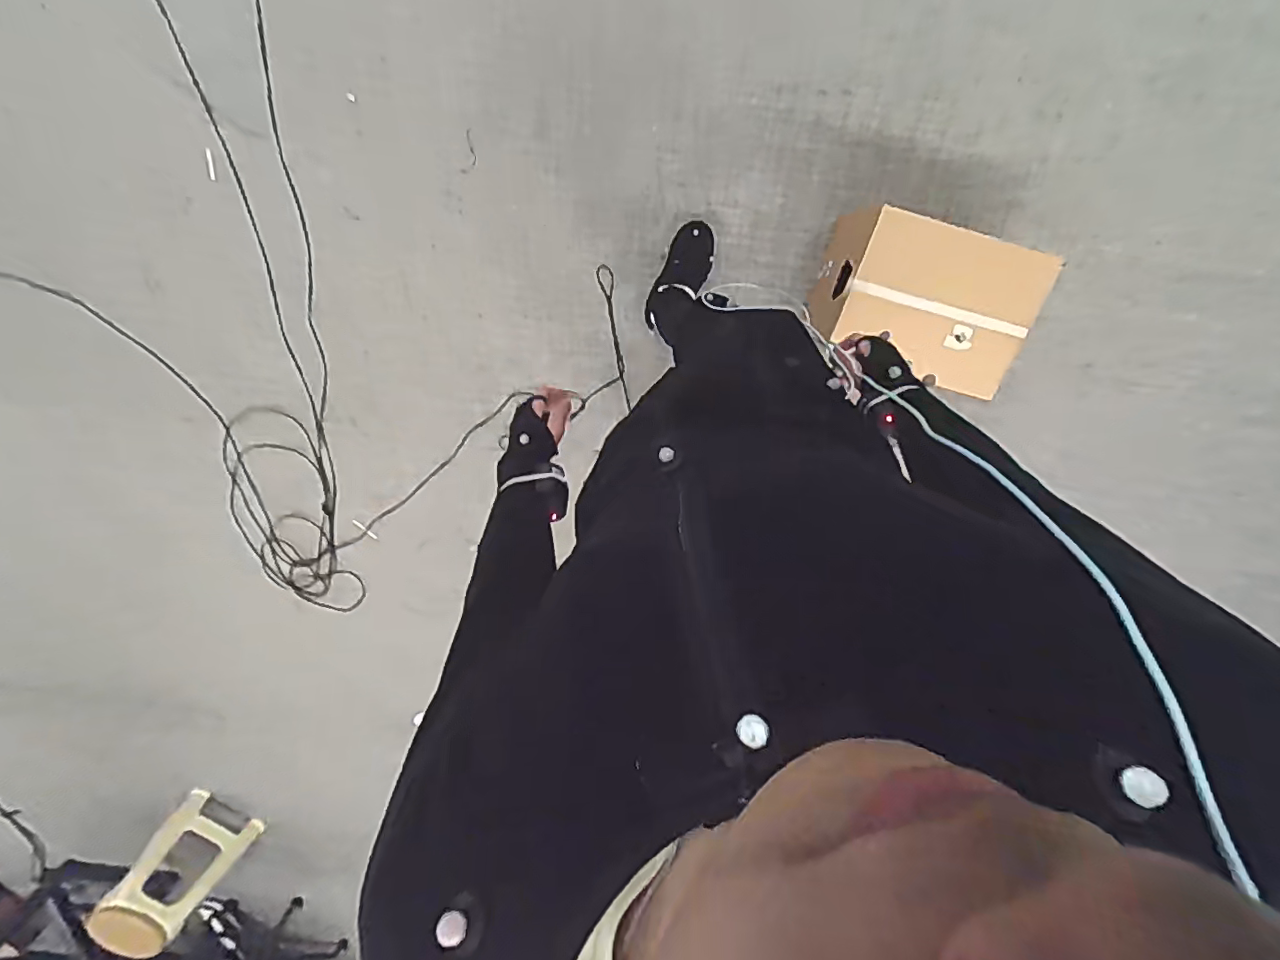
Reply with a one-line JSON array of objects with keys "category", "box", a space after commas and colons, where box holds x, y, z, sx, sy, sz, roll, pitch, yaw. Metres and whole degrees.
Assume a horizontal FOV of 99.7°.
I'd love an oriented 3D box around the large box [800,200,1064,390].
[{"category": "large box", "box": [0.650, -0.440, 1.293, 0.408, 0.320, 0.320, 15, 113, -2]}]
